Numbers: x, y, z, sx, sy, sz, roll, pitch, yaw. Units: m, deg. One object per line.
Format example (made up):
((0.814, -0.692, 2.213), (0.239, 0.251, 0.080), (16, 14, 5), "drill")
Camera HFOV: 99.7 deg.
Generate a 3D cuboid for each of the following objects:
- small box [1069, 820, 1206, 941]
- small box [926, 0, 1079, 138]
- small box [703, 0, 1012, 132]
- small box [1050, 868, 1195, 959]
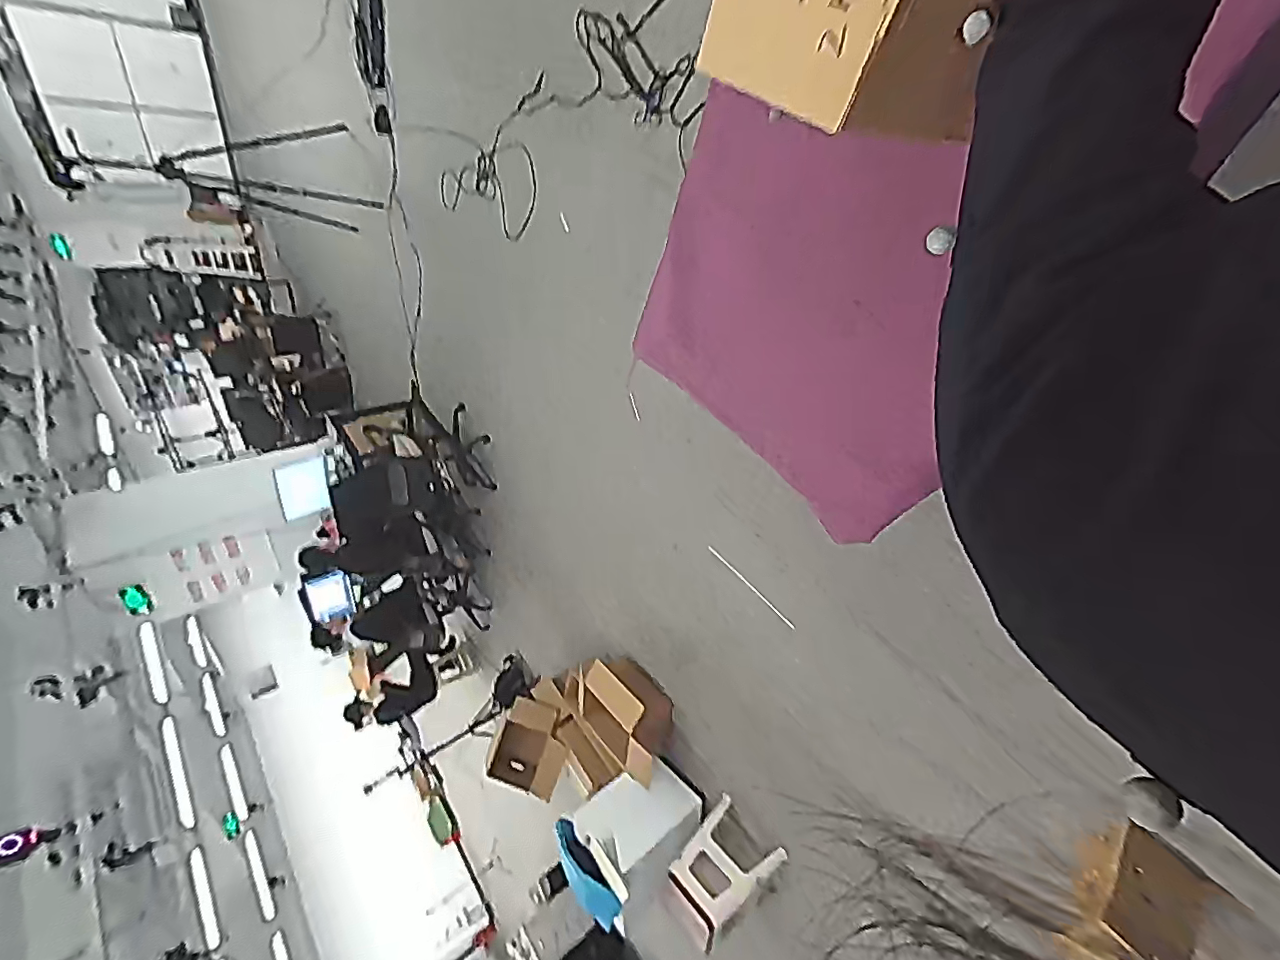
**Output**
((1.214, 0.984, 1.318), (0.179, 0.176, 0.168), (45, 137, 30), "small box")
((0.306, -0.476, 0.558), (0.179, 0.176, 0.168), (48, 140, 26), "small box")
((0.190, -0.416, 0.458), (0.179, 0.176, 0.168), (47, 140, 27), "small box")
((1.090, 1.029, 1.220), (0.168, 0.176, 0.179), (44, 138, 30), "small box")
